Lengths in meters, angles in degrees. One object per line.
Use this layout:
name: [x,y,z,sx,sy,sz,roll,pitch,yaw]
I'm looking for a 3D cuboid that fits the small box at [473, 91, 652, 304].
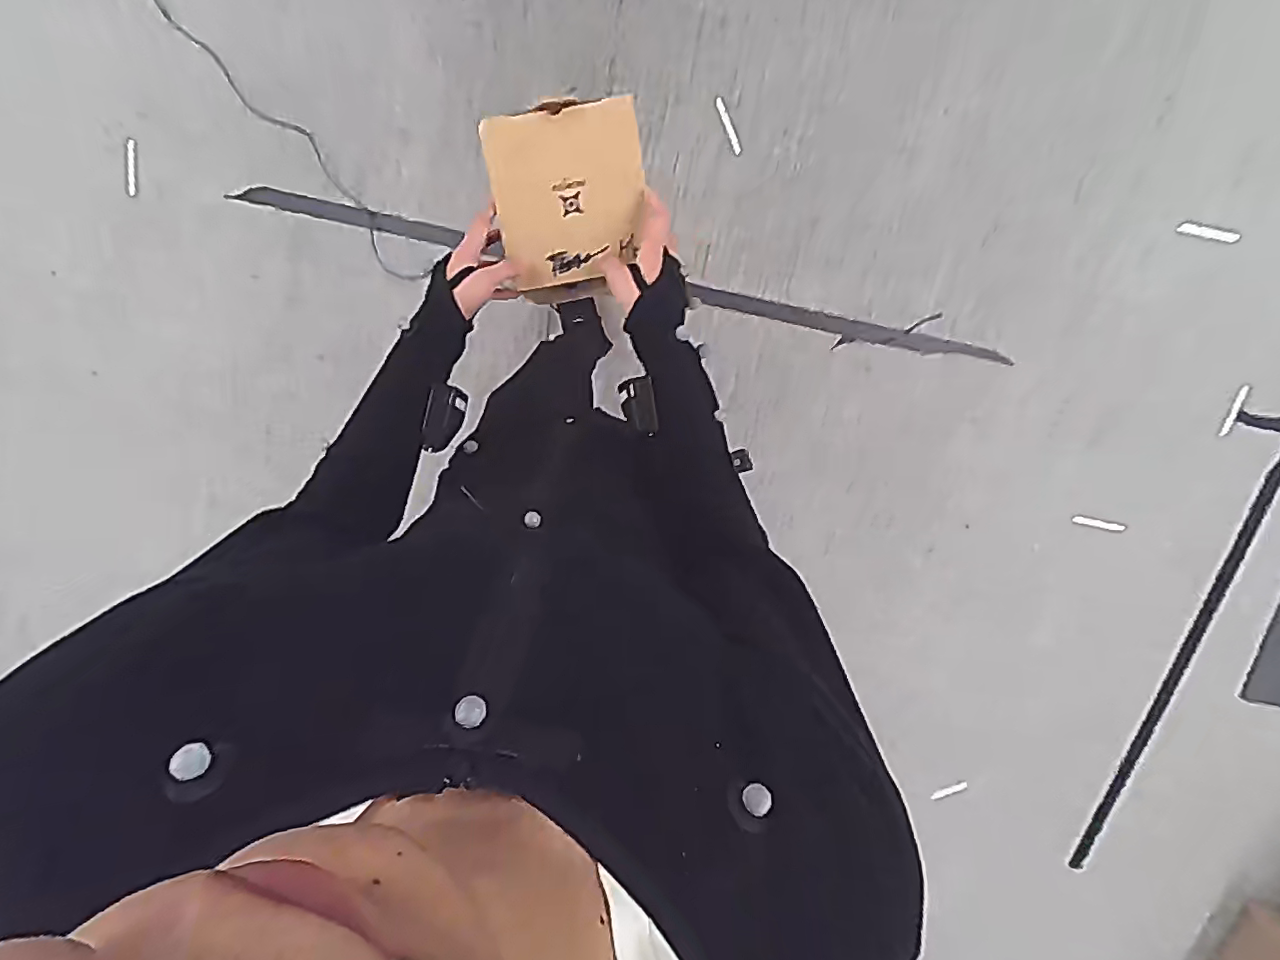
small box: [-0.083,-0.322,0.652,0.168,0.176,0.179,-10,103,1]
